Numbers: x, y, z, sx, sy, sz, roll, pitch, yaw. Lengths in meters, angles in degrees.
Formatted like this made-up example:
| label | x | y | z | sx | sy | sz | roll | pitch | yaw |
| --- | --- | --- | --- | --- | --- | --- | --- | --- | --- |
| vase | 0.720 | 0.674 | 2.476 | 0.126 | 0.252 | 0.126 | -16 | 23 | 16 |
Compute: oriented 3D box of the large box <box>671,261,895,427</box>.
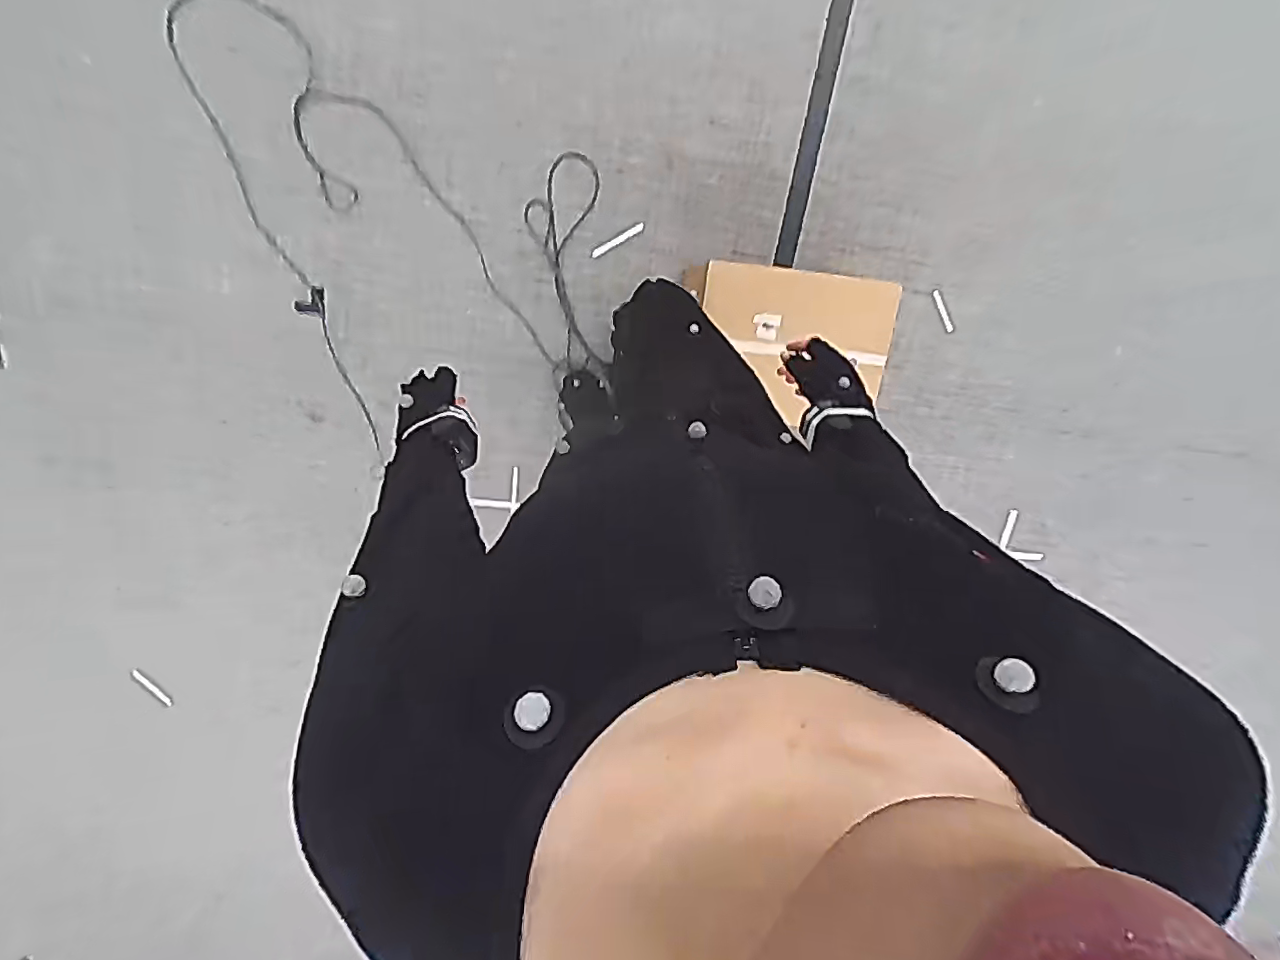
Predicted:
| label | x | y | z | sx | sy | sz | roll | pitch | yaw |
| --- | --- | --- | --- | --- | --- | --- | --- | --- | --- |
| large box | 0.303 | -0.325 | 1.272 | 0.408 | 0.320 | 0.320 | 5 | 108 | -5 |
